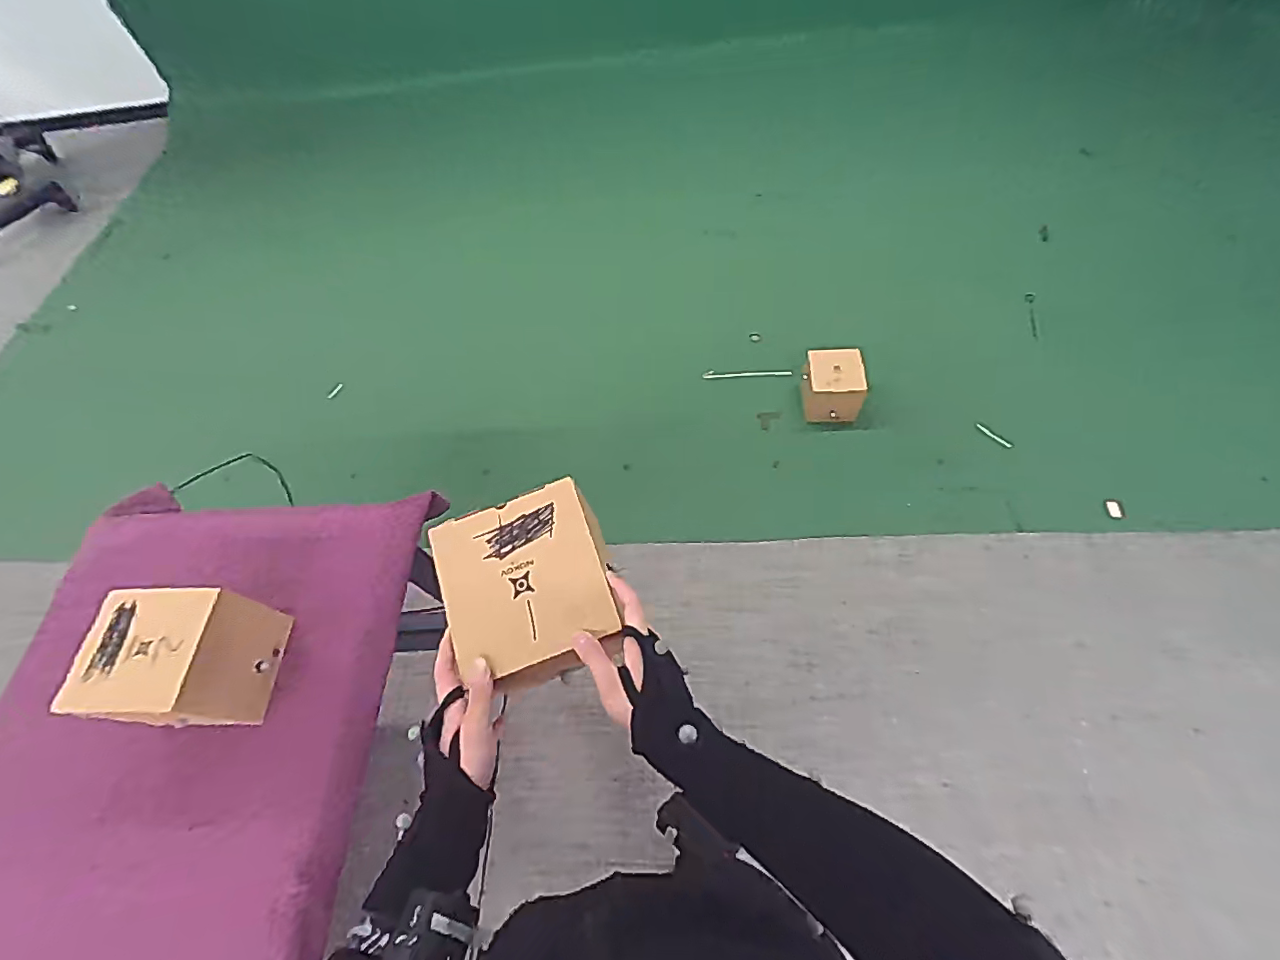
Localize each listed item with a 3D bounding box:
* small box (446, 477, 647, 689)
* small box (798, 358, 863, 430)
[{"bbox_3d":[-0.098,0.126,0.621,0.168,0.176,0.179,-20,68,-3],"label":"small box"},{"bbox_3d":[0.633,-0.287,1.815,0.168,0.176,0.179,0,60,6],"label":"small box"}]
